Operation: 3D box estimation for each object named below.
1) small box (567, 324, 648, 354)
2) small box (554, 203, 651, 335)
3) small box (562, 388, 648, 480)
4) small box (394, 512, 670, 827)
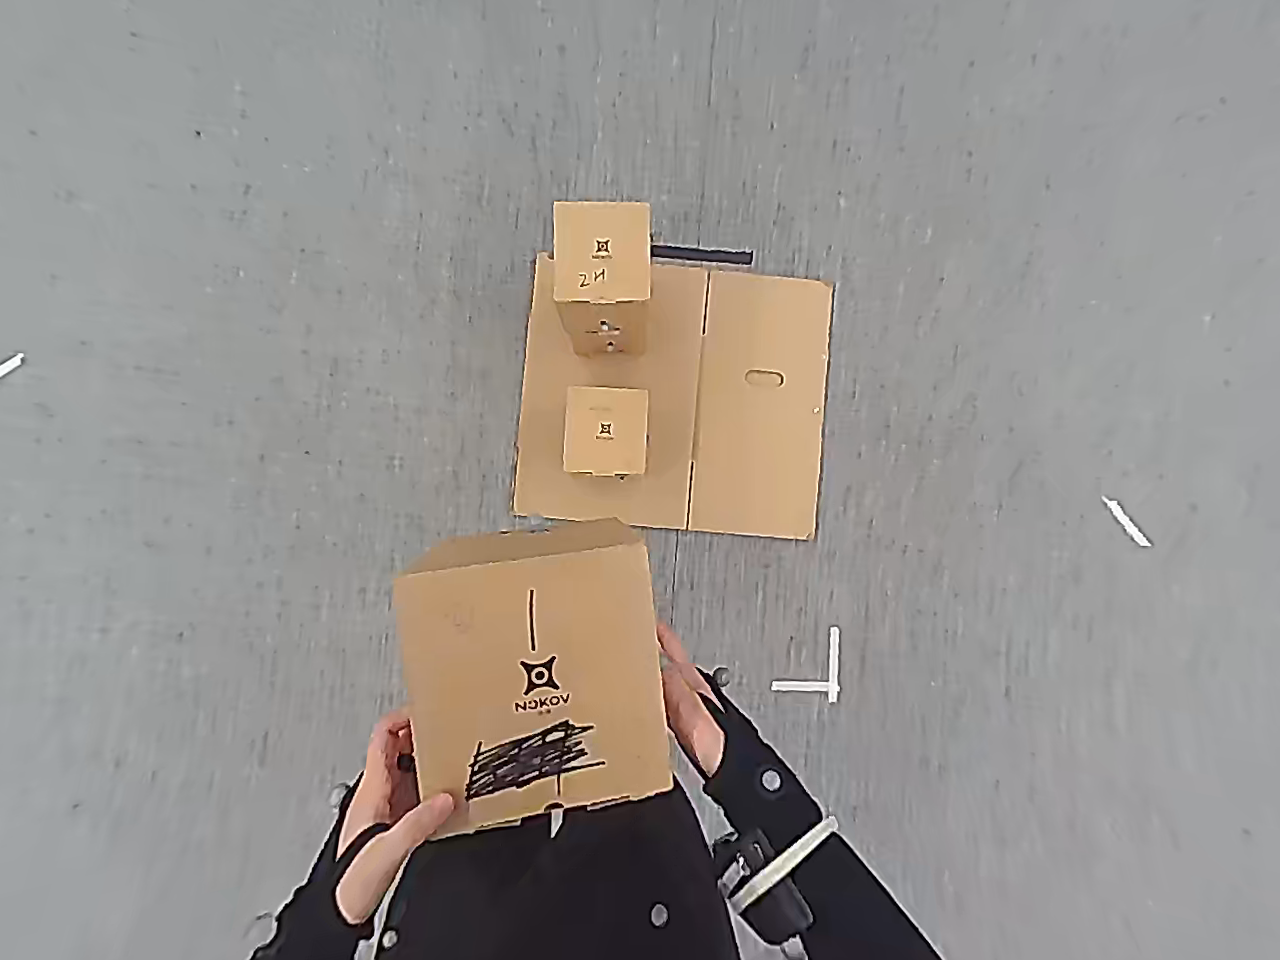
[{"bbox_3d":[-0.068,-0.373,1.159,0.168,0.176,0.179,-3,89,-3],"label":"small box"},{"bbox_3d":[-0.066,-0.380,0.995,0.168,0.176,0.179,-1,88,-1],"label":"small box"},{"bbox_3d":[-0.071,-0.090,1.151,0.168,0.176,0.179,2,87,-3],"label":"small box"},{"bbox_3d":[-0.078,0.127,0.433,0.168,0.176,0.179,-7,92,-9],"label":"small box"}]
